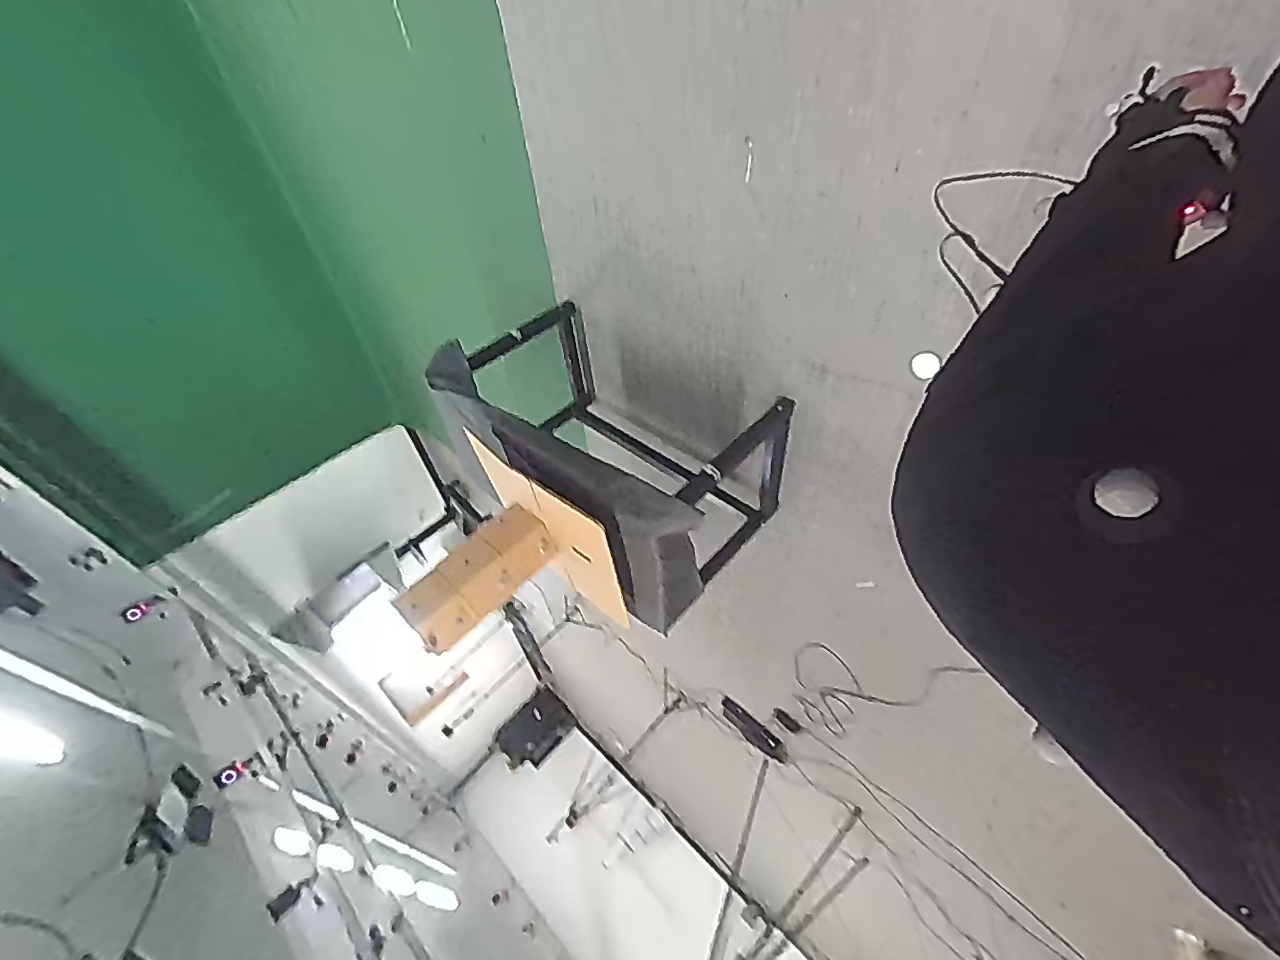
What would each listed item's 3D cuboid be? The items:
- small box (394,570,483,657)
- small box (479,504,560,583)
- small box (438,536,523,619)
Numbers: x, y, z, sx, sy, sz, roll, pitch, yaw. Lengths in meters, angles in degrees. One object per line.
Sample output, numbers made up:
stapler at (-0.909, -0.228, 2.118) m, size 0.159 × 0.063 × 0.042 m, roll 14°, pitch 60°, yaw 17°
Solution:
small box at (-0.623, 0.407, 1.687) m, size 0.179 × 0.176 × 0.168 m, roll 26°, pitch 148°, yaw 40°
small box at (-0.399, 0.205, 1.813) m, size 0.179 × 0.176 × 0.168 m, roll 26°, pitch 148°, yaw 39°
small box at (-0.511, 0.306, 1.748) m, size 0.179 × 0.176 × 0.168 m, roll 26°, pitch 148°, yaw 39°
